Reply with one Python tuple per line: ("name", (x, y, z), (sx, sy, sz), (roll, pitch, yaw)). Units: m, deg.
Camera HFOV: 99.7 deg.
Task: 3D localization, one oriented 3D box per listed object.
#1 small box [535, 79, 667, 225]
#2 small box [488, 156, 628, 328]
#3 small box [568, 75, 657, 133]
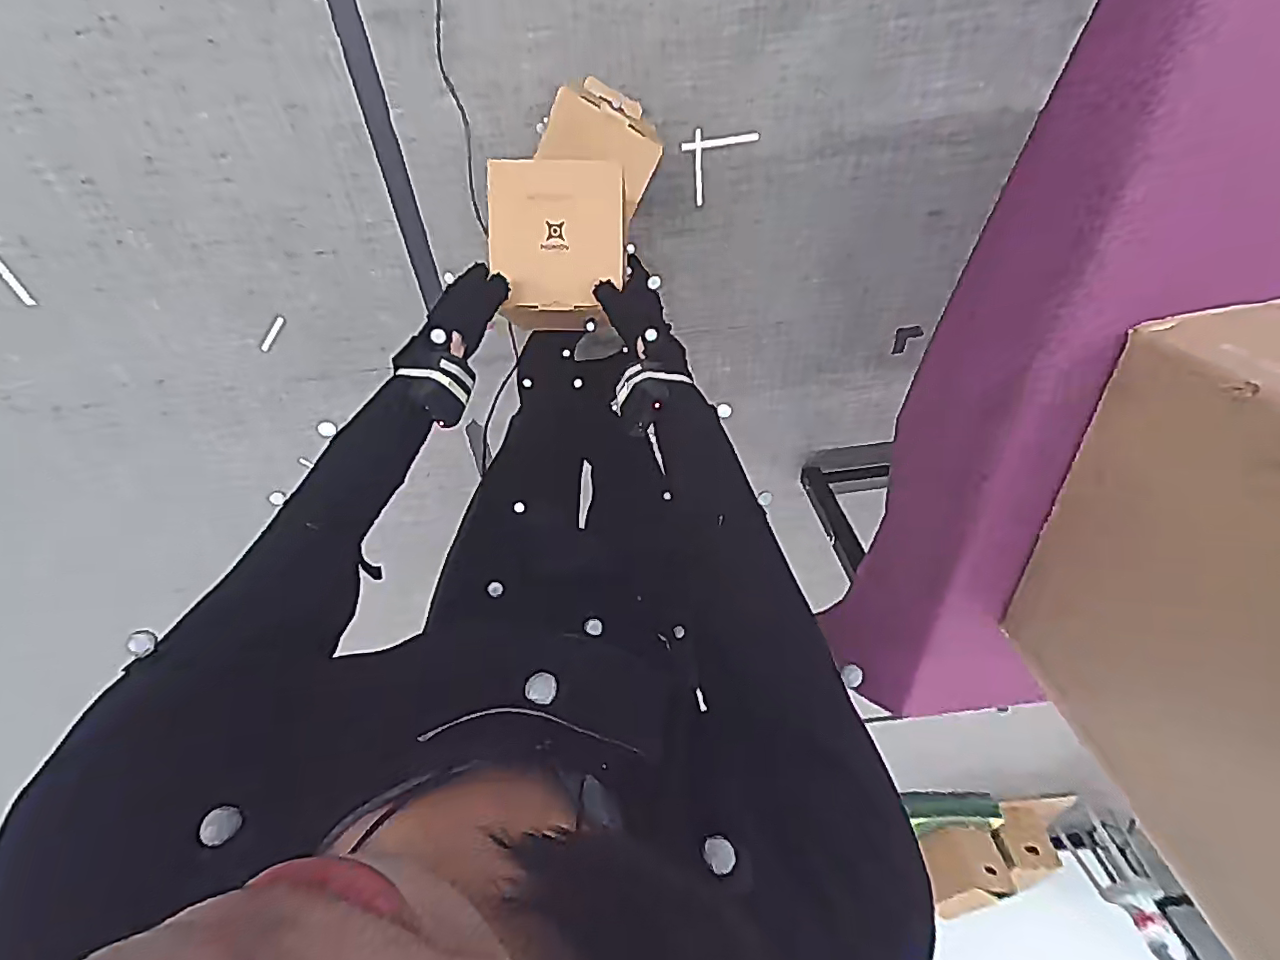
("small box", (-0.078, -0.498, 0.858), (0.168, 0.176, 0.179), (21, 123, -19))
("small box", (-0.100, -0.306, 0.730), (0.168, 0.176, 0.179), (0, 95, -1))
("small box", (-0.086, -0.602, 0.985), (0.168, 0.176, 0.179), (19, 124, -18))
